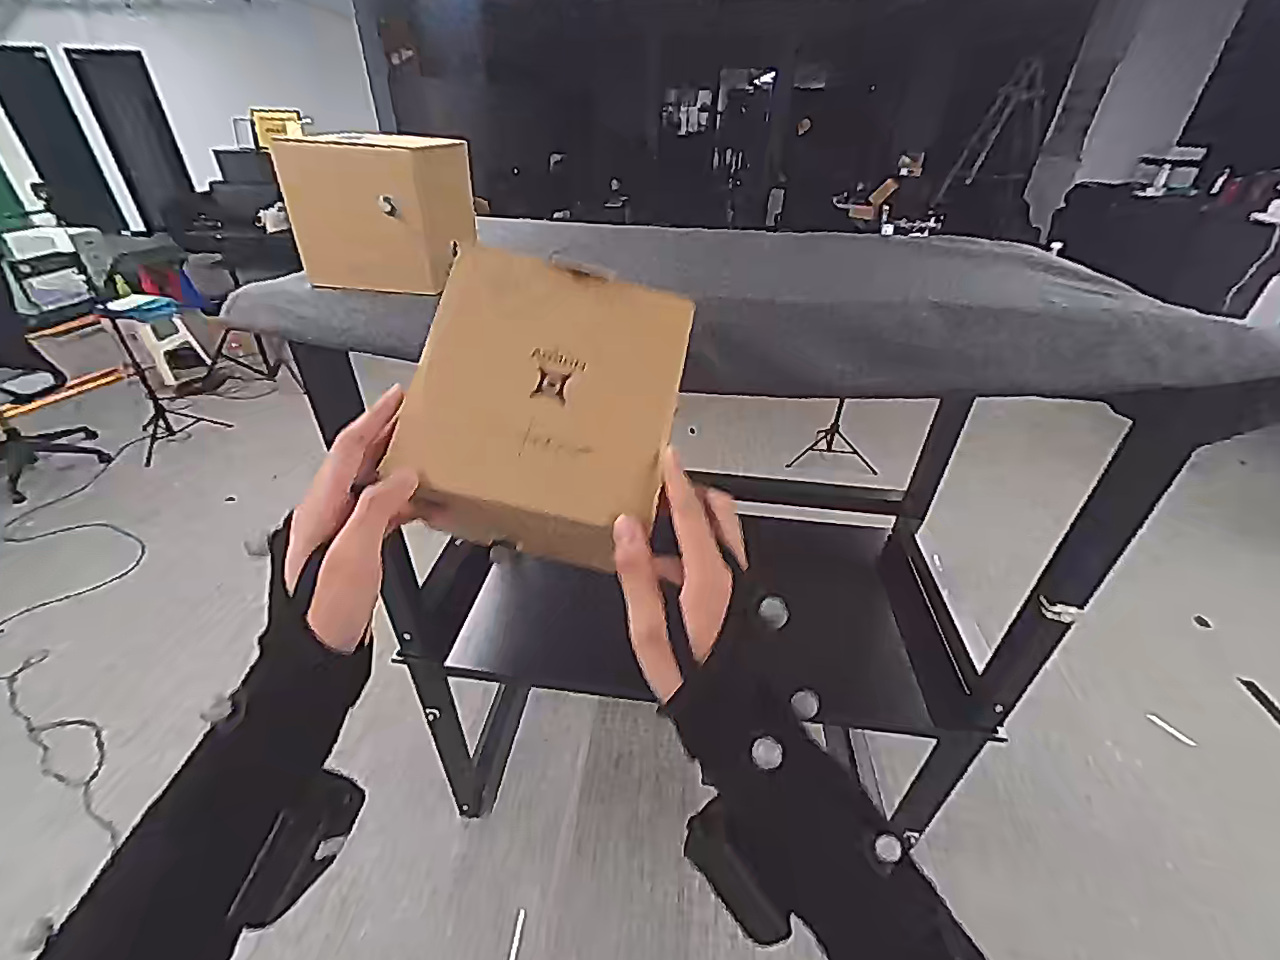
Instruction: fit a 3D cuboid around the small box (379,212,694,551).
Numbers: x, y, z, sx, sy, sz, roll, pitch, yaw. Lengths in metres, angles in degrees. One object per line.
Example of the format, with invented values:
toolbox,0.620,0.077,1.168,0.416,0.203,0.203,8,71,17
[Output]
small box,-0.069,-0.058,0.416,0.168,0.176,0.179,13,71,-5
